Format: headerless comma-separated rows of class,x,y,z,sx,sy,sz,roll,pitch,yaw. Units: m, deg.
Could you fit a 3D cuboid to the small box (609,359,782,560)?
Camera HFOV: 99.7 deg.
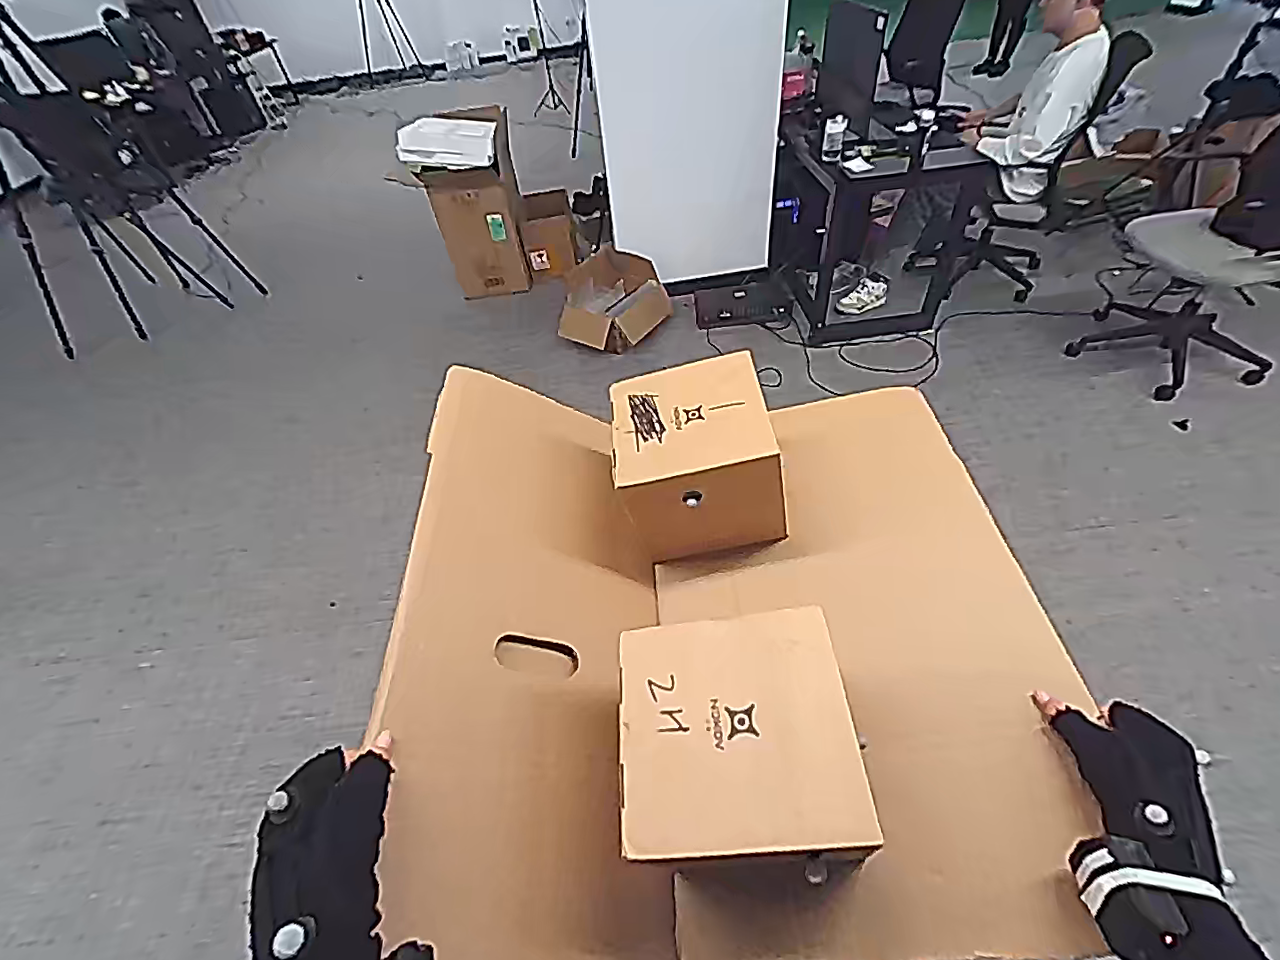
small box,0.070,-0.017,0.677,0.179,0.176,0.168,-12,51,9
